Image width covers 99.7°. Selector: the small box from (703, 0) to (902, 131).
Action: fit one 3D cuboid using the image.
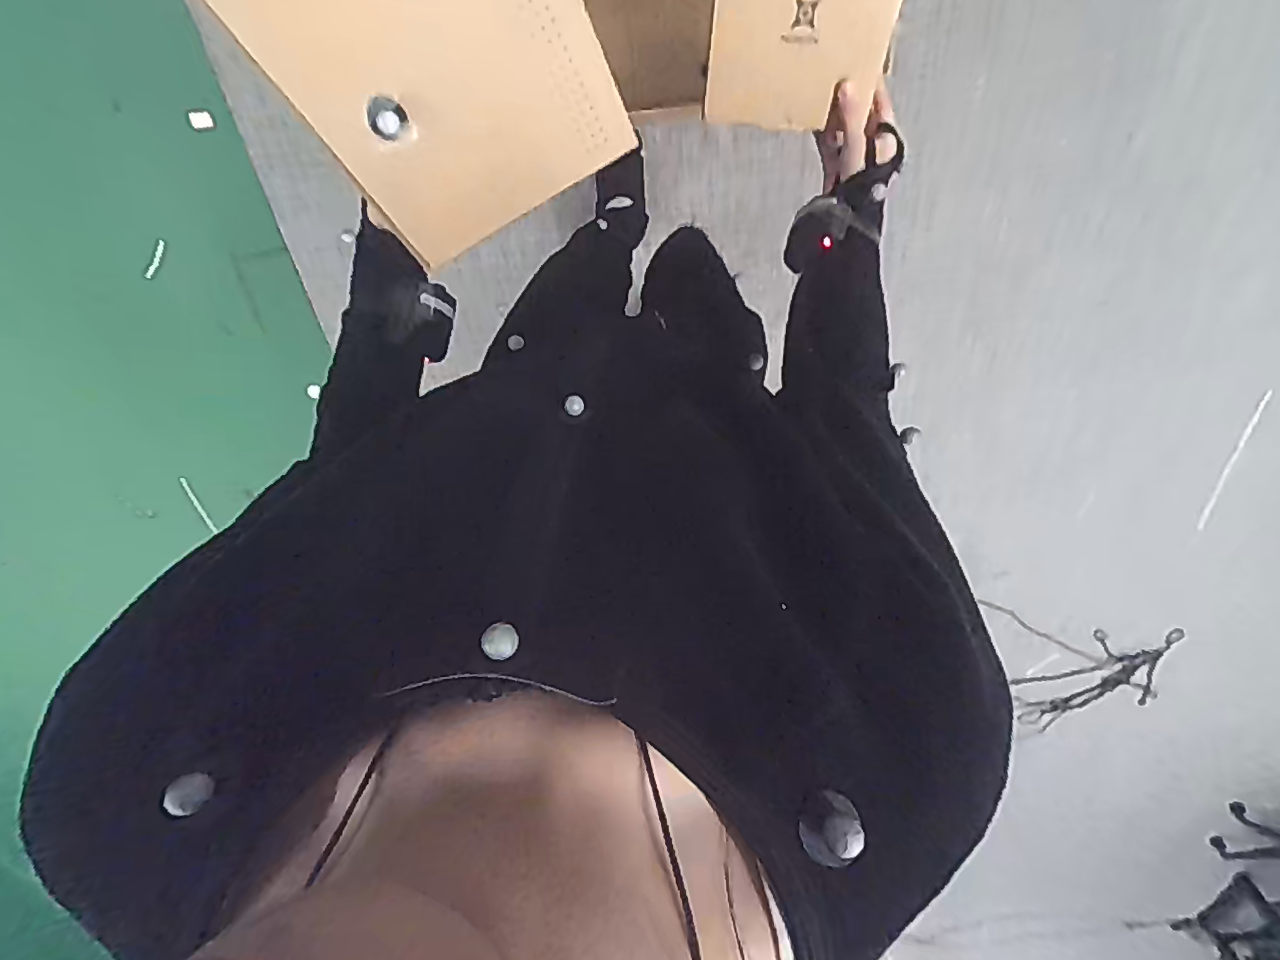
[{"bbox_3d":[0.154,-0.476,0.534,0.168,0.176,0.179,6,141,4],"label":"small box"}]
